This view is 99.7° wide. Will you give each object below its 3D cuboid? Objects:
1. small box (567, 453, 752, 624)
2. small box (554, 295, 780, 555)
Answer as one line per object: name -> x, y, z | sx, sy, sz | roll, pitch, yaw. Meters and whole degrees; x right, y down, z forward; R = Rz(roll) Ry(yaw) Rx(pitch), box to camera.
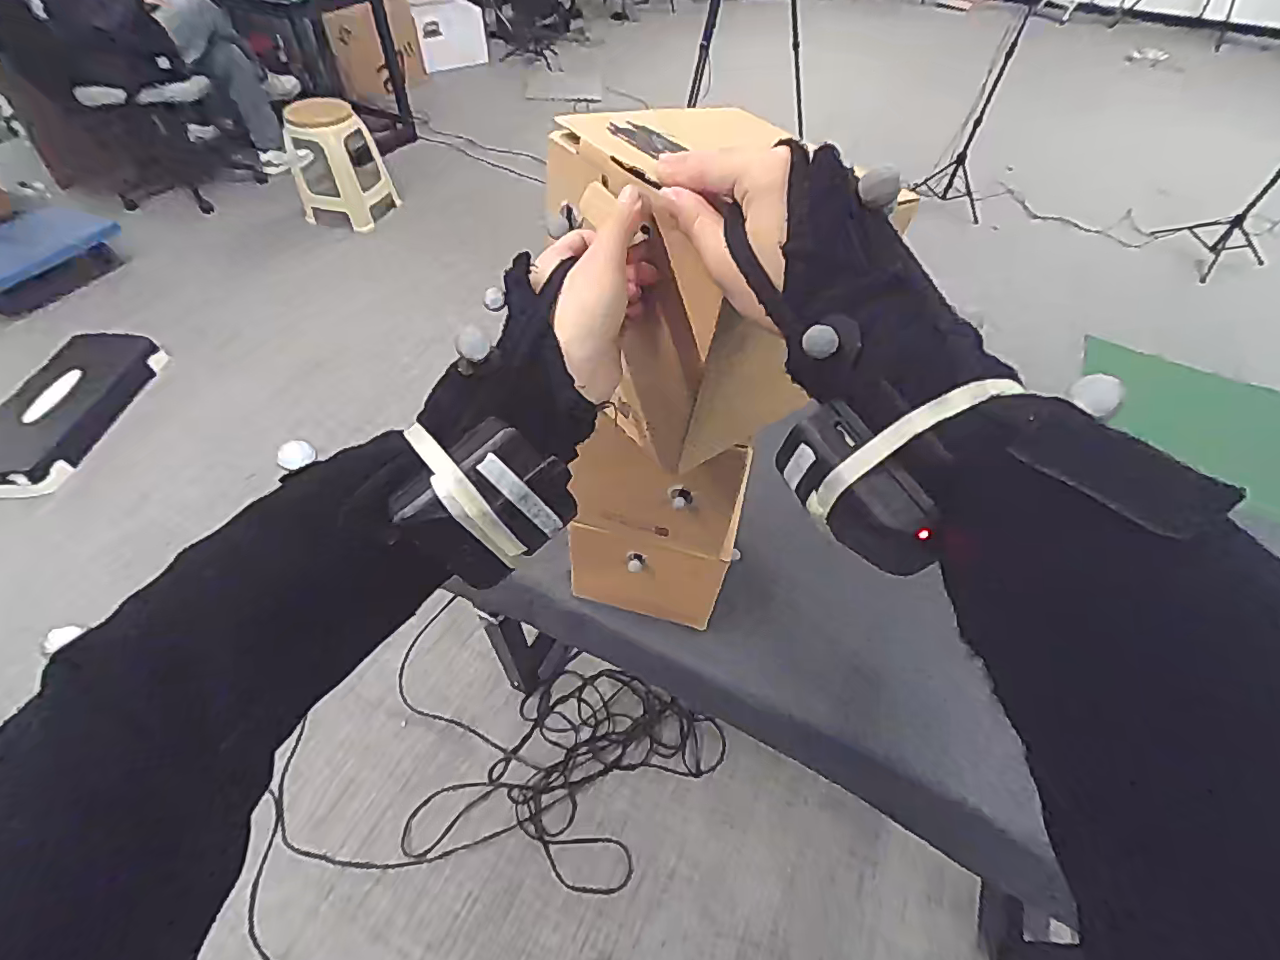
small box -> 0.025, 0.057, 0.663 | 0.179, 0.176, 0.168 | 14, 51, 8
small box -> 0.028, -0.052, 0.542 | 0.168, 0.176, 0.179 | 16, 50, 9
